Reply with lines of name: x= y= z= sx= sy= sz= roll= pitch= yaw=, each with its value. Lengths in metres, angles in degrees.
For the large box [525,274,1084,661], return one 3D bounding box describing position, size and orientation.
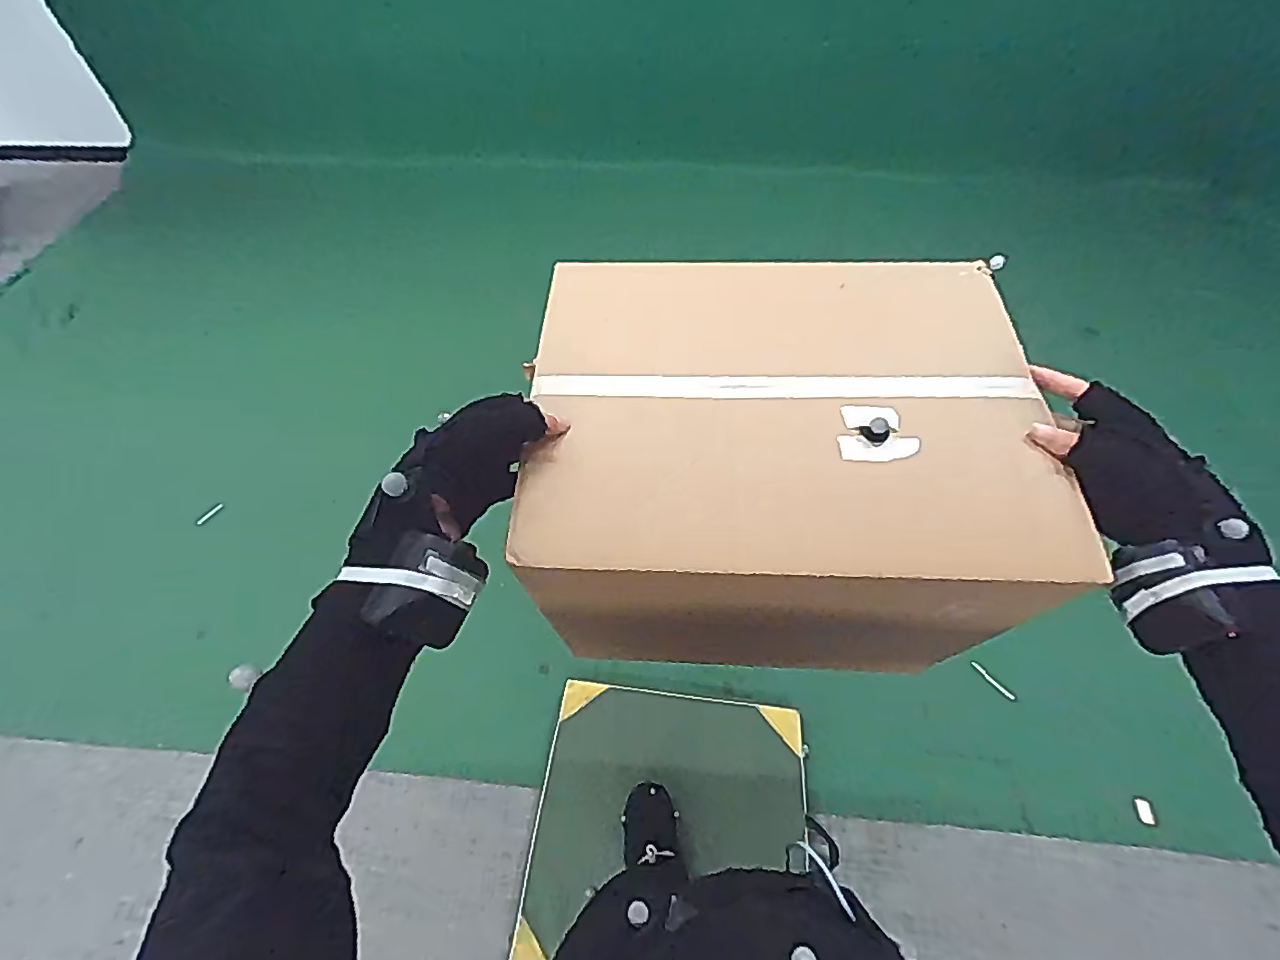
large box: x=0.119 y=0.004 z=0.584 sx=0.408 sy=0.320 sz=0.320 roll=1 pitch=60 yaw=2
